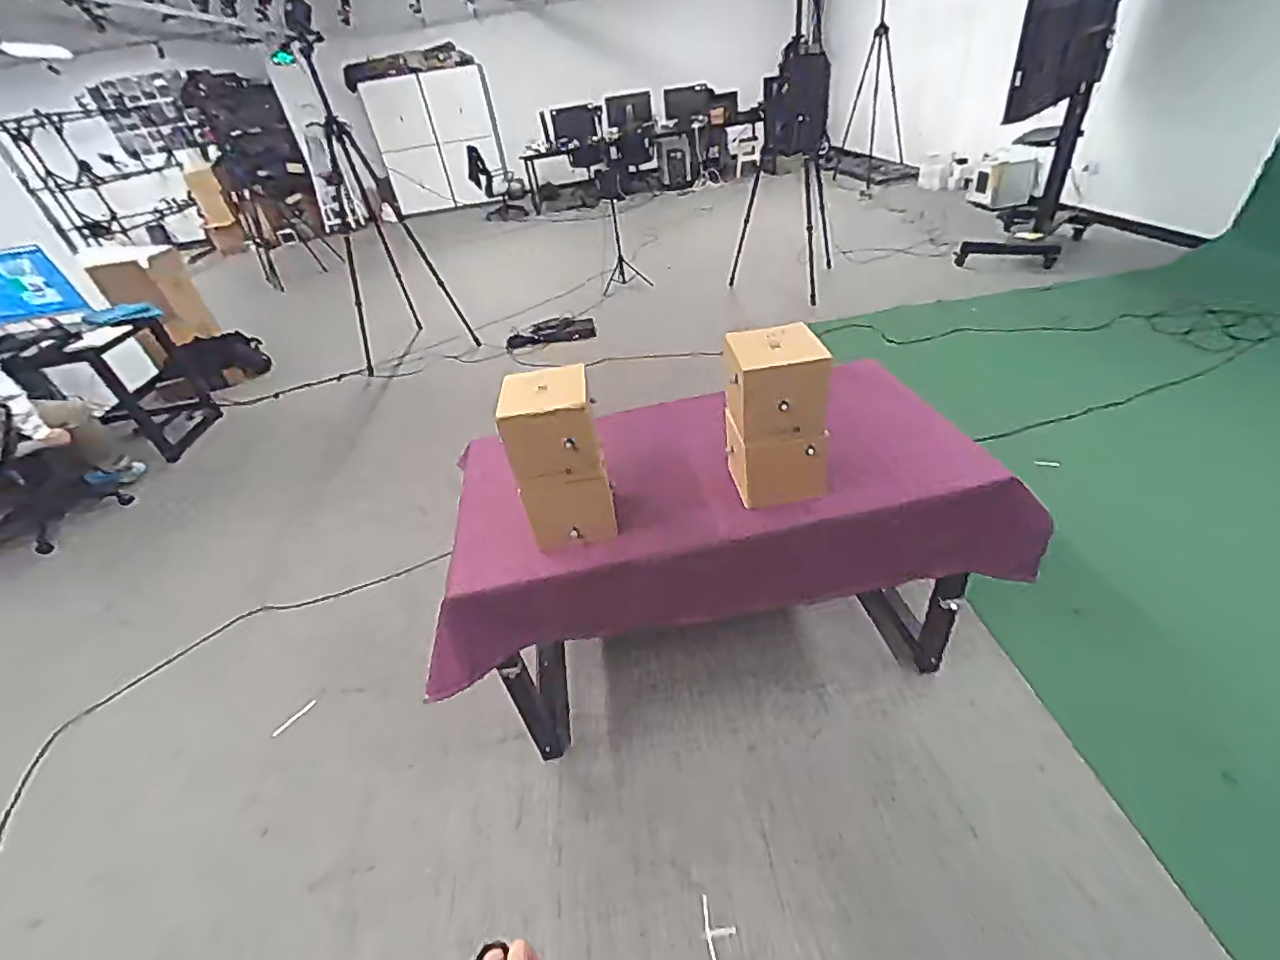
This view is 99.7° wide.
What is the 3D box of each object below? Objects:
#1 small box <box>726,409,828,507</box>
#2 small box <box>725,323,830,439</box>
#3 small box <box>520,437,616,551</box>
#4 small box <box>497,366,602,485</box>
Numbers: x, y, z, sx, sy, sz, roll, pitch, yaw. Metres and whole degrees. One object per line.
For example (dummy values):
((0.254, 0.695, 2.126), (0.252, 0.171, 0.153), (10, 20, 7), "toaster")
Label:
((0.295, -0.059, 1.182), (0.179, 0.176, 0.168), (-10, 37, 0), "small box")
((0.271, -0.193, 1.088), (0.168, 0.176, 0.179), (-8, 36, 2), "small box")
((-0.149, 0.030, 1.169), (0.179, 0.176, 0.168), (-10, 36, -1), "small box")
((-0.171, -0.103, 1.075), (0.168, 0.176, 0.179), (-9, 36, 1), "small box")
